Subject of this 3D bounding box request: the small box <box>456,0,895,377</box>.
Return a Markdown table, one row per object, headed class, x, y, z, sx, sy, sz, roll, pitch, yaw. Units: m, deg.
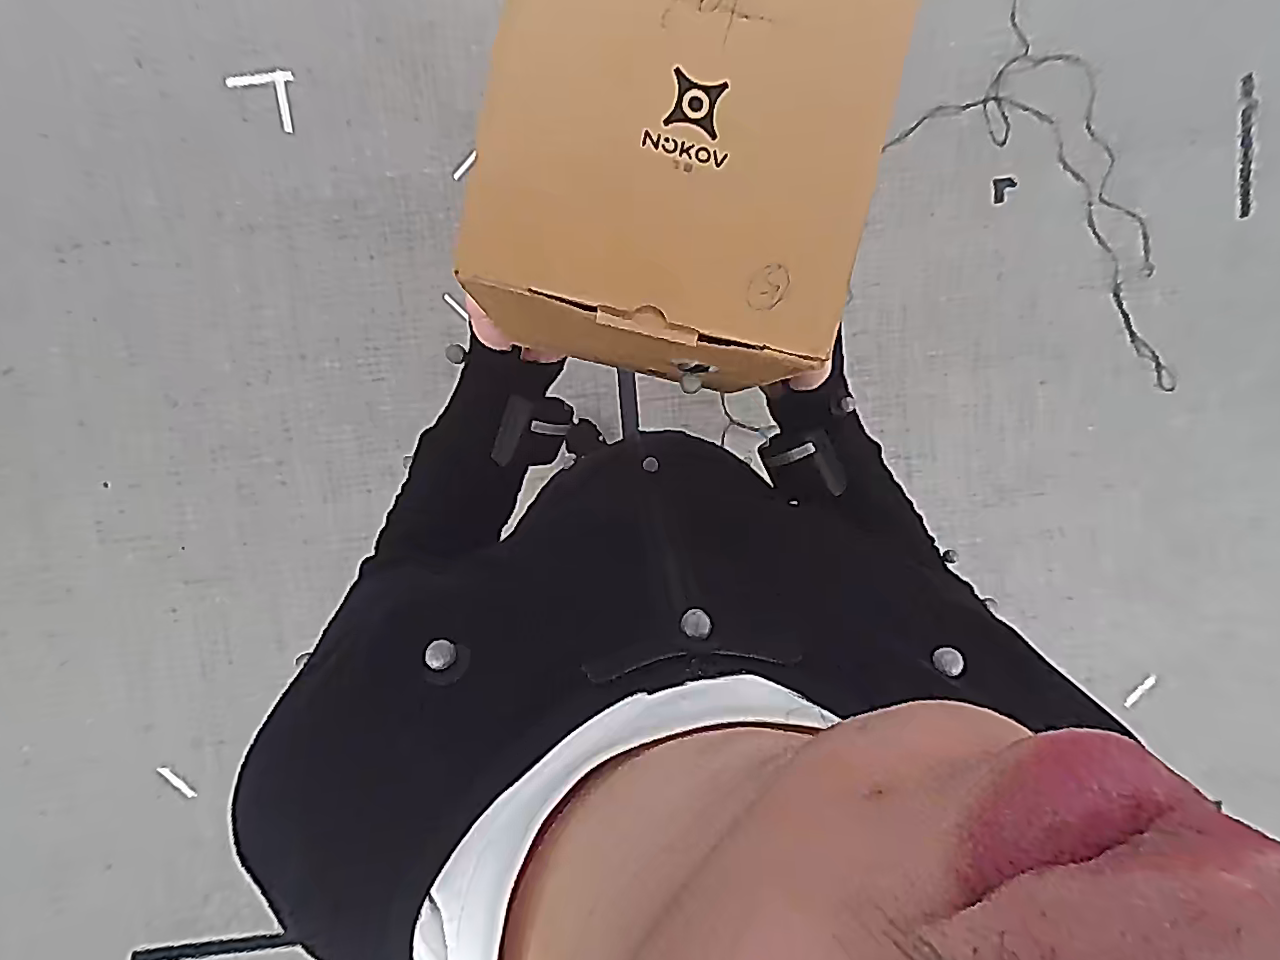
| class | x | y | z | sx | sy | sz | roll | pitch | yaw |
| --- | --- | --- | --- | --- | --- | --- | --- | --- | --- |
| small box | 0.009 | -0.165 | 0.314 | 0.168 | 0.176 | 0.179 | 12 | 93 | -8 |
